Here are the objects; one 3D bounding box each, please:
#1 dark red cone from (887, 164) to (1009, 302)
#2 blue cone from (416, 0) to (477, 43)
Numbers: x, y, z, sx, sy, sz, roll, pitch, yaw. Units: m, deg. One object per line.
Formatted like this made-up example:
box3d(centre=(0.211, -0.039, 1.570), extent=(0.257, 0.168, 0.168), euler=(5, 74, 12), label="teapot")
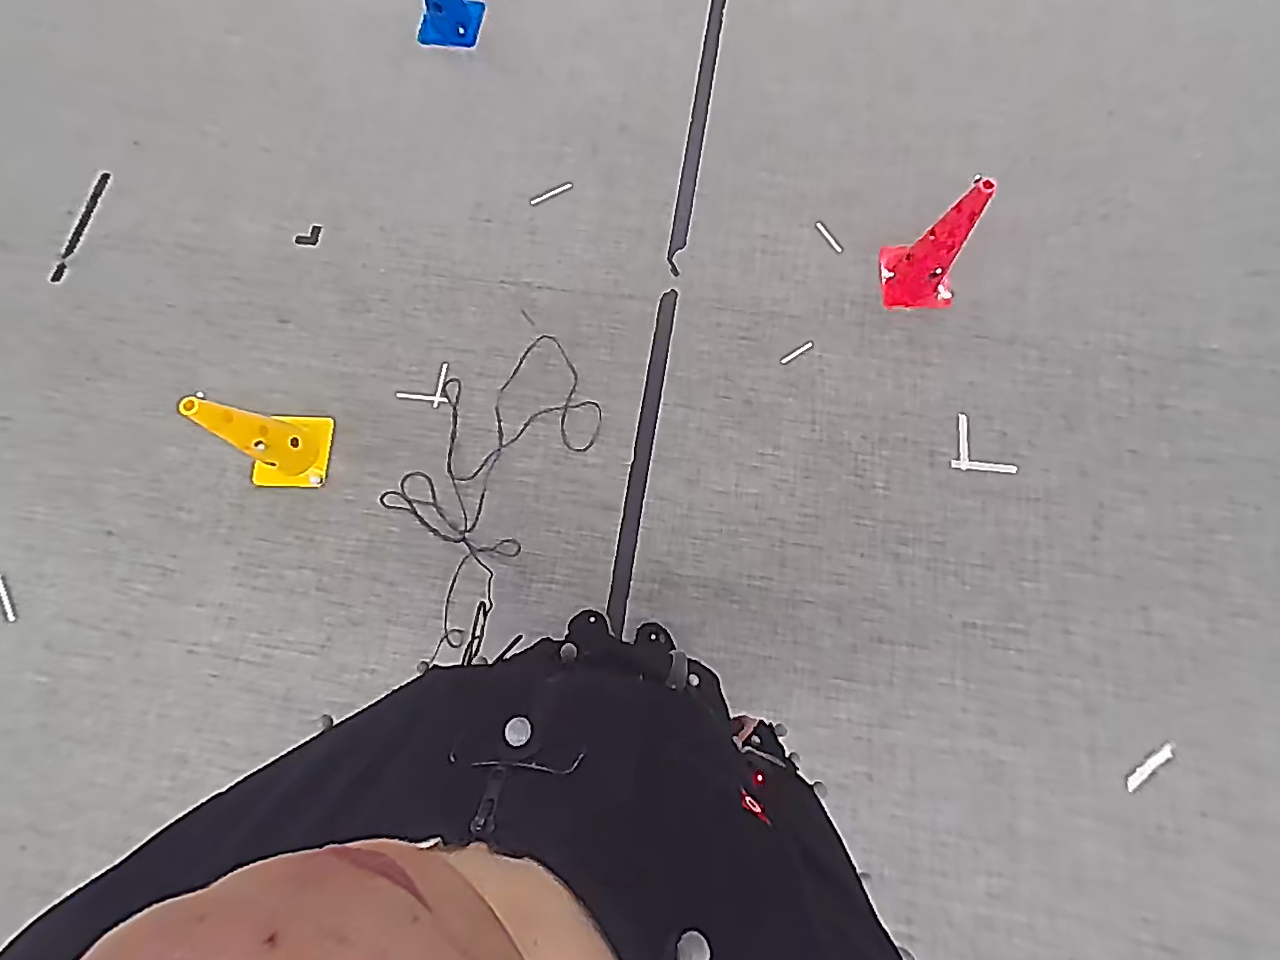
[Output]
box3d(centre=(0.800, -0.635, 1.373), extent=(0.201, 0.394, 0.202), euler=(1, 77, 3), label="dark red cone")
box3d(centre=(-0.656, -1.584, 1.658), extent=(0.192, 0.380, 0.193), euler=(9, 77, 4), label="blue cone")
